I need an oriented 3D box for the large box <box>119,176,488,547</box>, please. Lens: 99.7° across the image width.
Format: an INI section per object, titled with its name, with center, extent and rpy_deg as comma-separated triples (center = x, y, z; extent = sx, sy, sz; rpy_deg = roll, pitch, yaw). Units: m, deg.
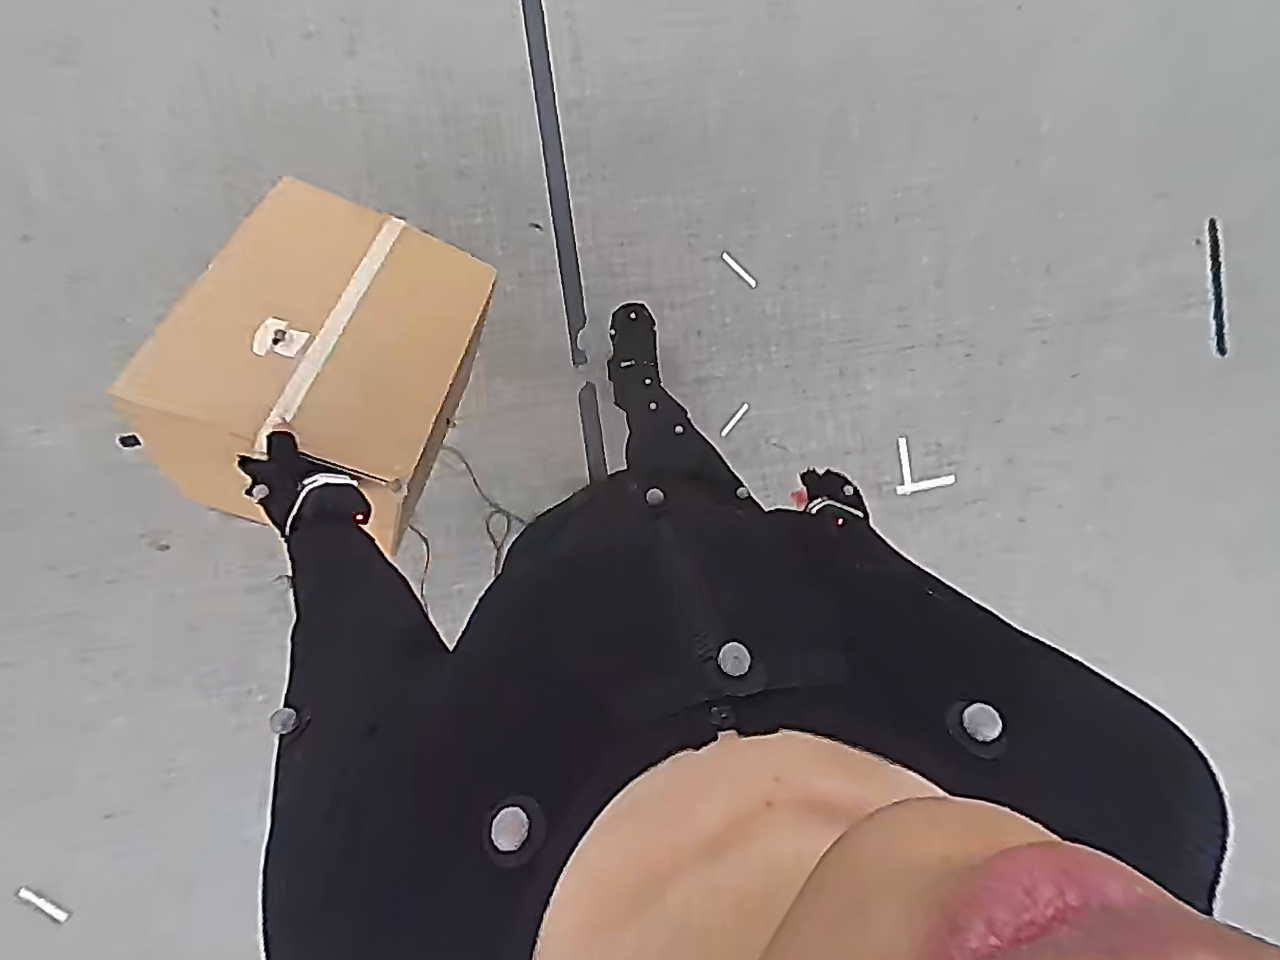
[large box]
center = -0.467, -0.158, 0.845
extent = 0.320, 0.320, 0.408
rpy_deg = 20, 61, -17
